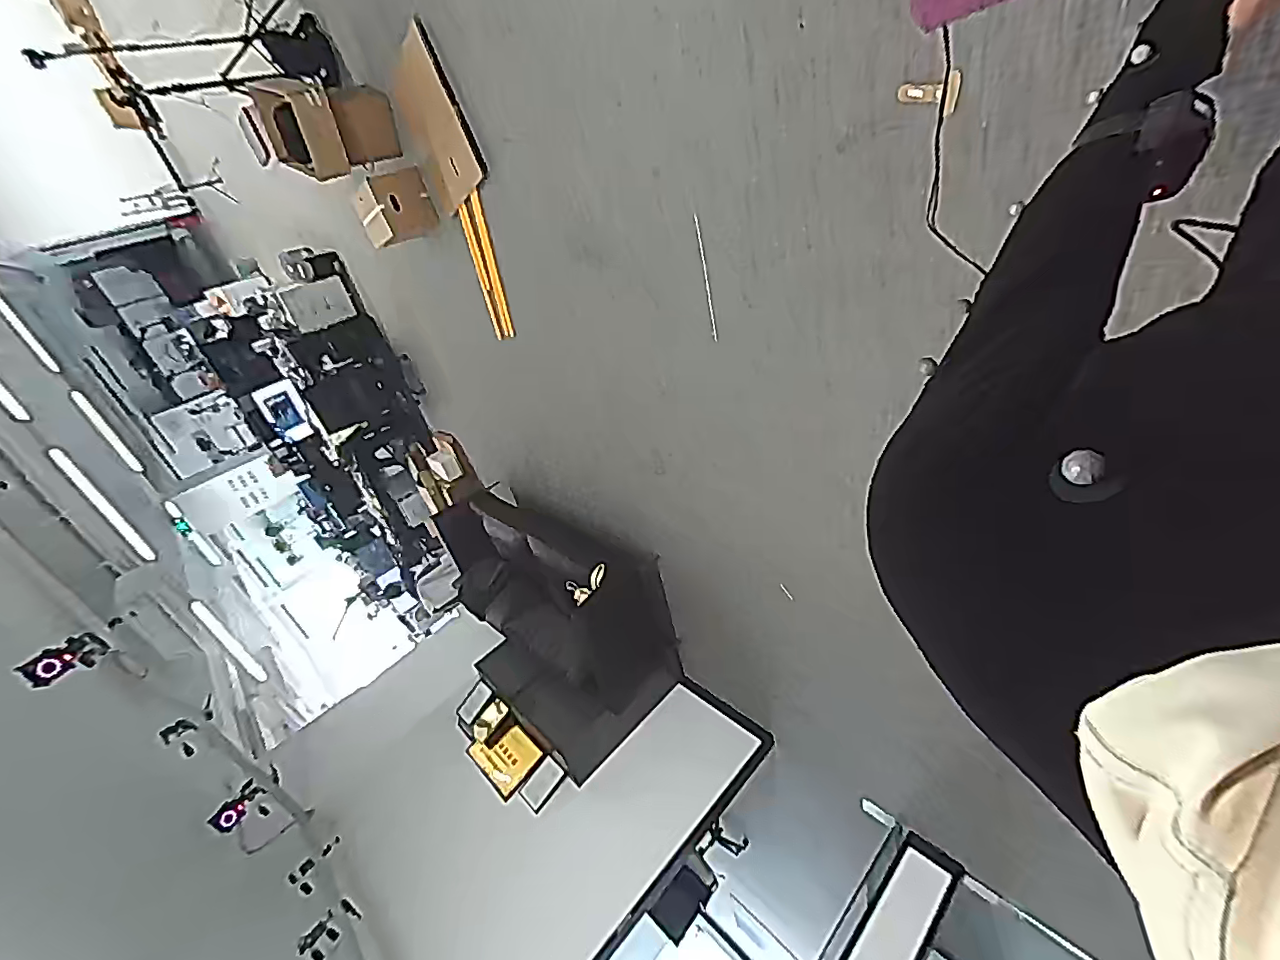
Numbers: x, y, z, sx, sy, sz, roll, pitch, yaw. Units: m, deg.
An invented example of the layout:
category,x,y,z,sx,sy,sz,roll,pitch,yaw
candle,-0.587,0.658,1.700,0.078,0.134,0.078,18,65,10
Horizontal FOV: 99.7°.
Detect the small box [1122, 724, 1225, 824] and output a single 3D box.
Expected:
category,x,y,z,sx,sy,sz,roll,pitch,yaw
small box,1.601,0.869,1.624,0.179,0.176,0.168,21,136,43
